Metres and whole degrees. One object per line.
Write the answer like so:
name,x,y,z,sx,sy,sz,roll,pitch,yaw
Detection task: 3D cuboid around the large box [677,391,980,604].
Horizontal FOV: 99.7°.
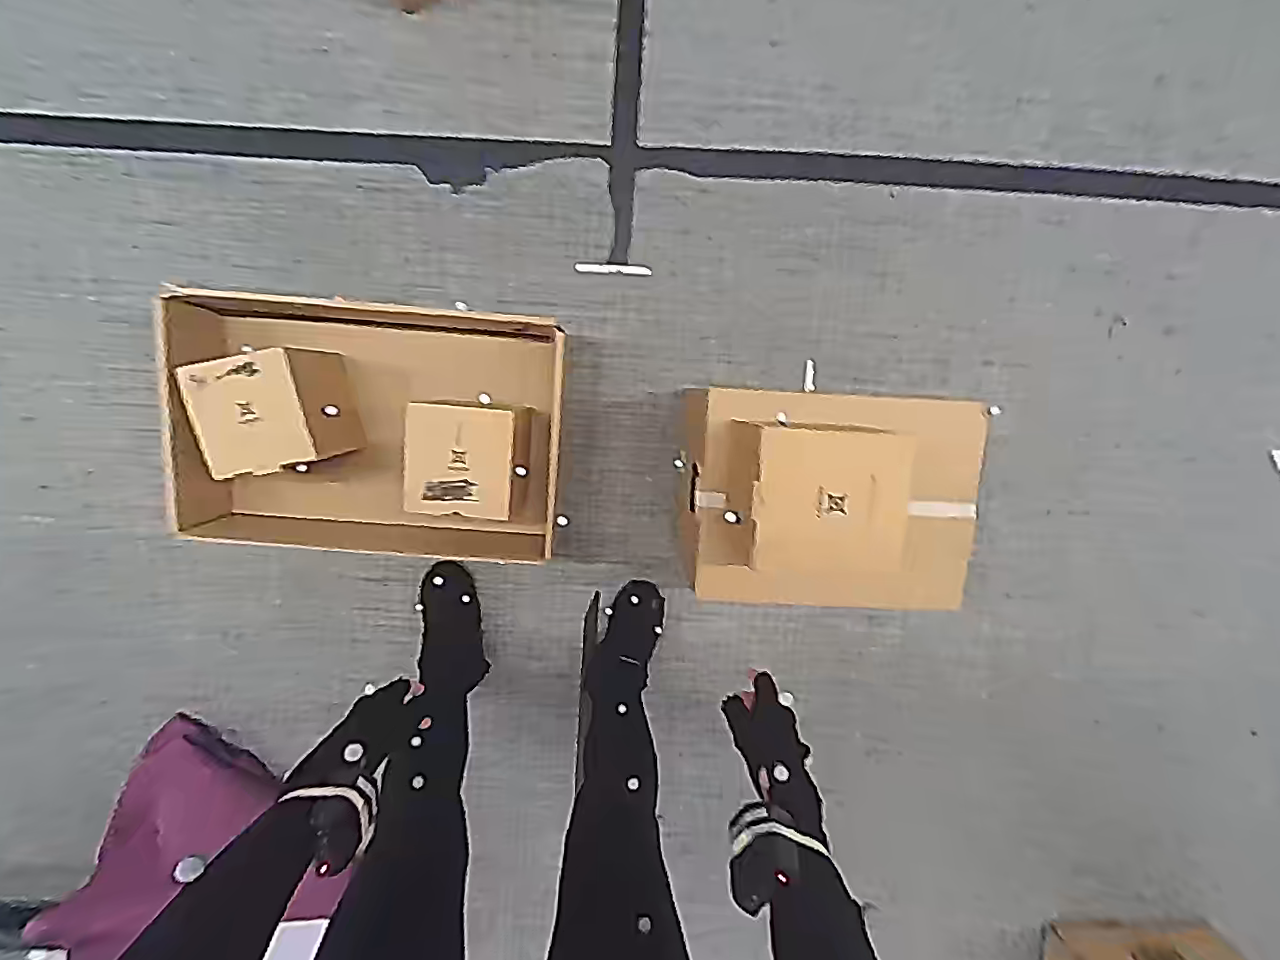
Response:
large box,0.280,0.012,0.936,0.408,0.320,0.320,2,99,-3
